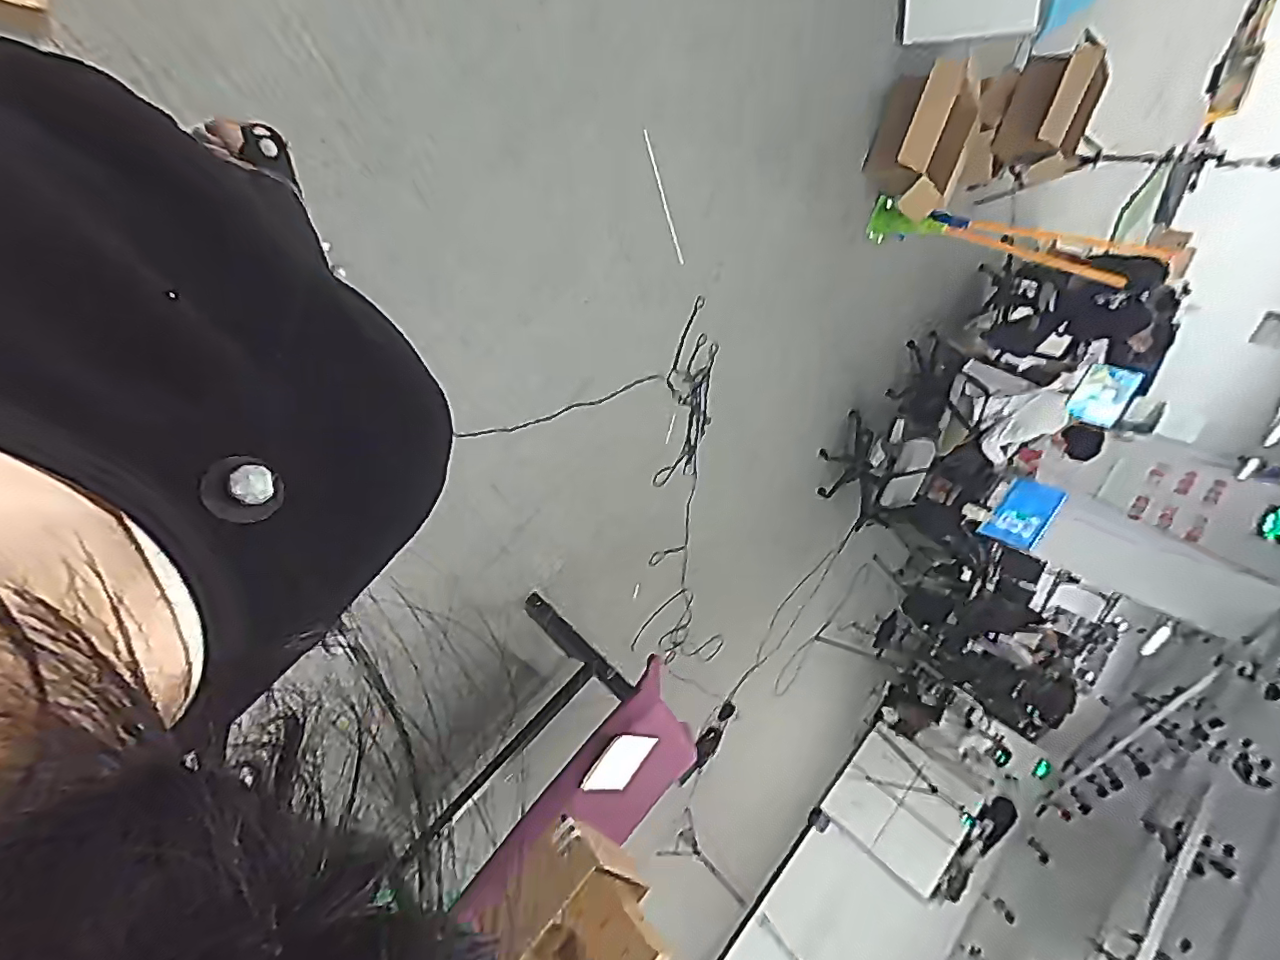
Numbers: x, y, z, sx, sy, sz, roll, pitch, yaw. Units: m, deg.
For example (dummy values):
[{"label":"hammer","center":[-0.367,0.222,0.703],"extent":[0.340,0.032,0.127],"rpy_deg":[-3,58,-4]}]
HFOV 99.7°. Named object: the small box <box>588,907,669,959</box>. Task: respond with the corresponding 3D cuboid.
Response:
[{"label":"small box","center":[-0.042,1.507,1.707],"extent":[0.179,0.176,0.168],"rpy_deg":[-46,139,-18]}]
